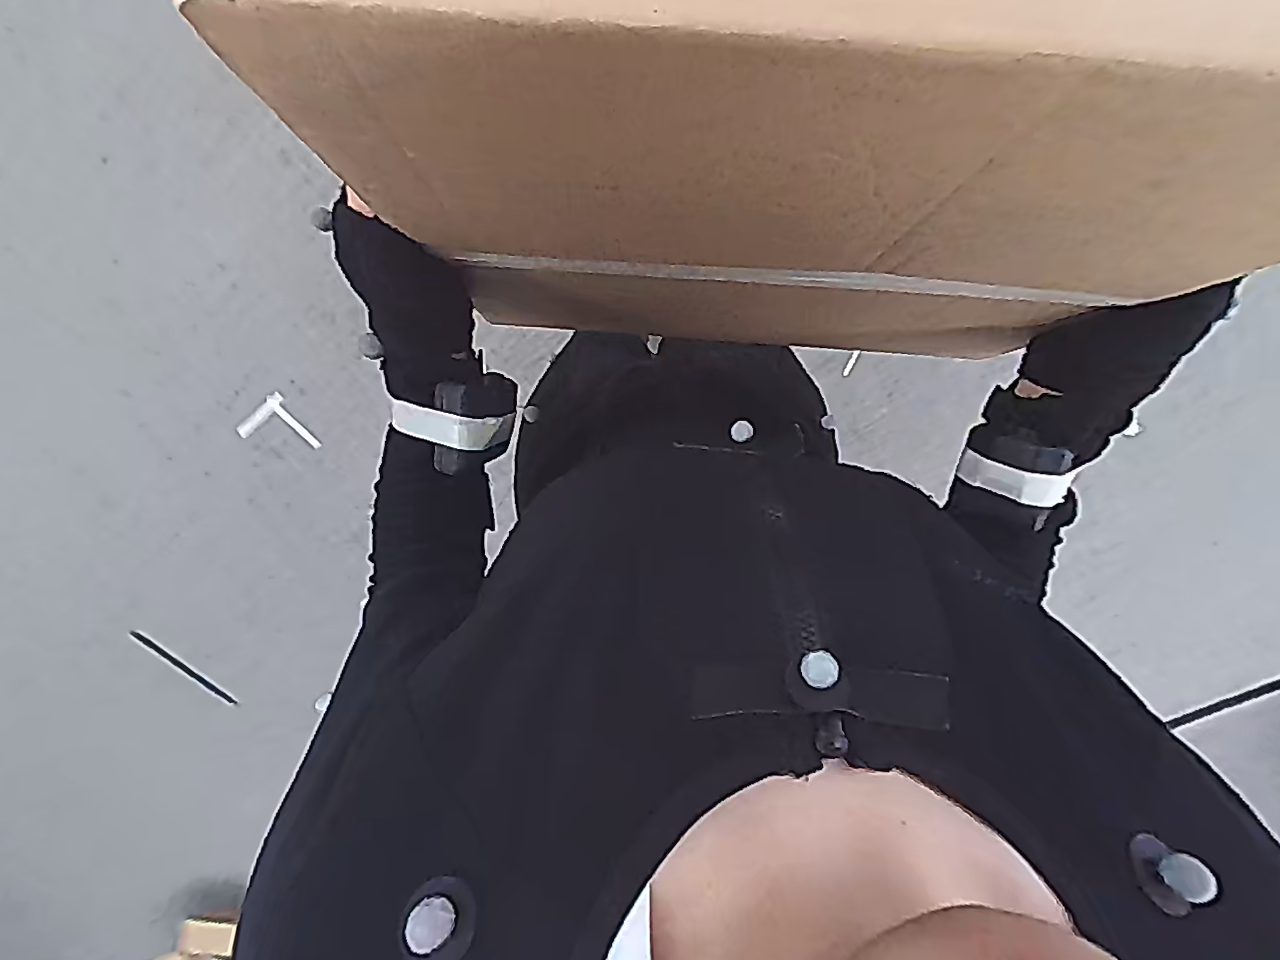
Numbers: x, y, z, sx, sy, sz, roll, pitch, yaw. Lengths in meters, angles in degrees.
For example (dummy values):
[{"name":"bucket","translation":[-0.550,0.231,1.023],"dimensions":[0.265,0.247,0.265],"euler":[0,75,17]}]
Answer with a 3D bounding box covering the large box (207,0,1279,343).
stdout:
[{"name":"large box","translation":[0.081,-0.273,0.295],"dimensions":[0.408,0.320,0.320],"euler":[3,92,0]}]
